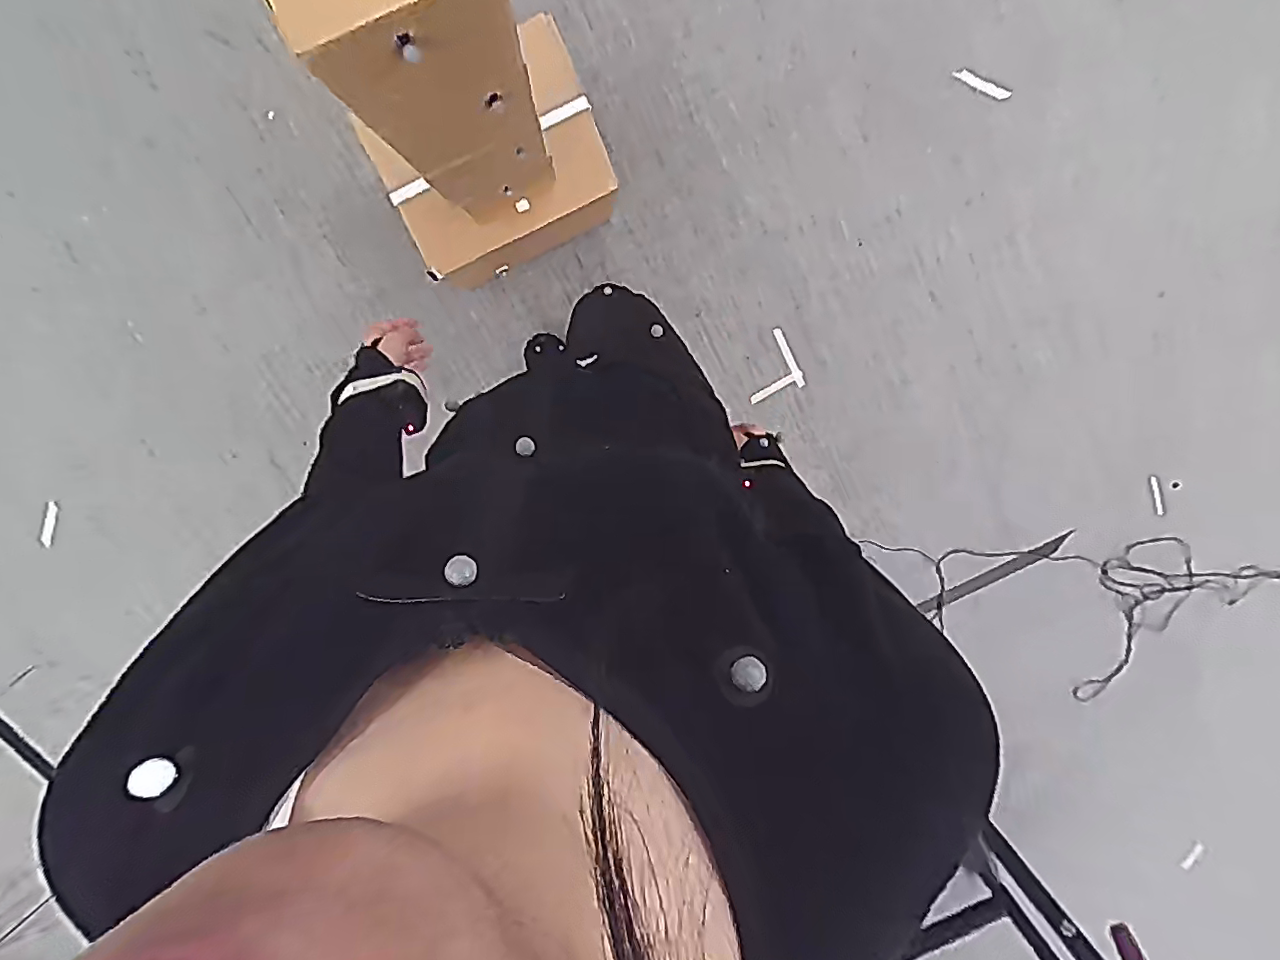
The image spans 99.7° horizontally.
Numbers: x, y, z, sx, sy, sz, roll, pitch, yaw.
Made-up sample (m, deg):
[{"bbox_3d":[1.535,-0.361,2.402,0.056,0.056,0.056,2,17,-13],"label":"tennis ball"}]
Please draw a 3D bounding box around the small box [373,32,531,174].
[{"bbox_3d":[-0.235,-0.486,0.618,0.179,0.176,0.168,-24,106,1],"label":"small box"}]

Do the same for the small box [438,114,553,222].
[{"bbox_3d":[-0.264,-0.573,0.934,0.179,0.176,0.168,-28,107,1],"label":"small box"}]

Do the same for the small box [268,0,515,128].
[{"bbox_3d":[-0.219,-0.443,0.462,0.179,0.176,0.168,-24,107,1],"label":"small box"}]
